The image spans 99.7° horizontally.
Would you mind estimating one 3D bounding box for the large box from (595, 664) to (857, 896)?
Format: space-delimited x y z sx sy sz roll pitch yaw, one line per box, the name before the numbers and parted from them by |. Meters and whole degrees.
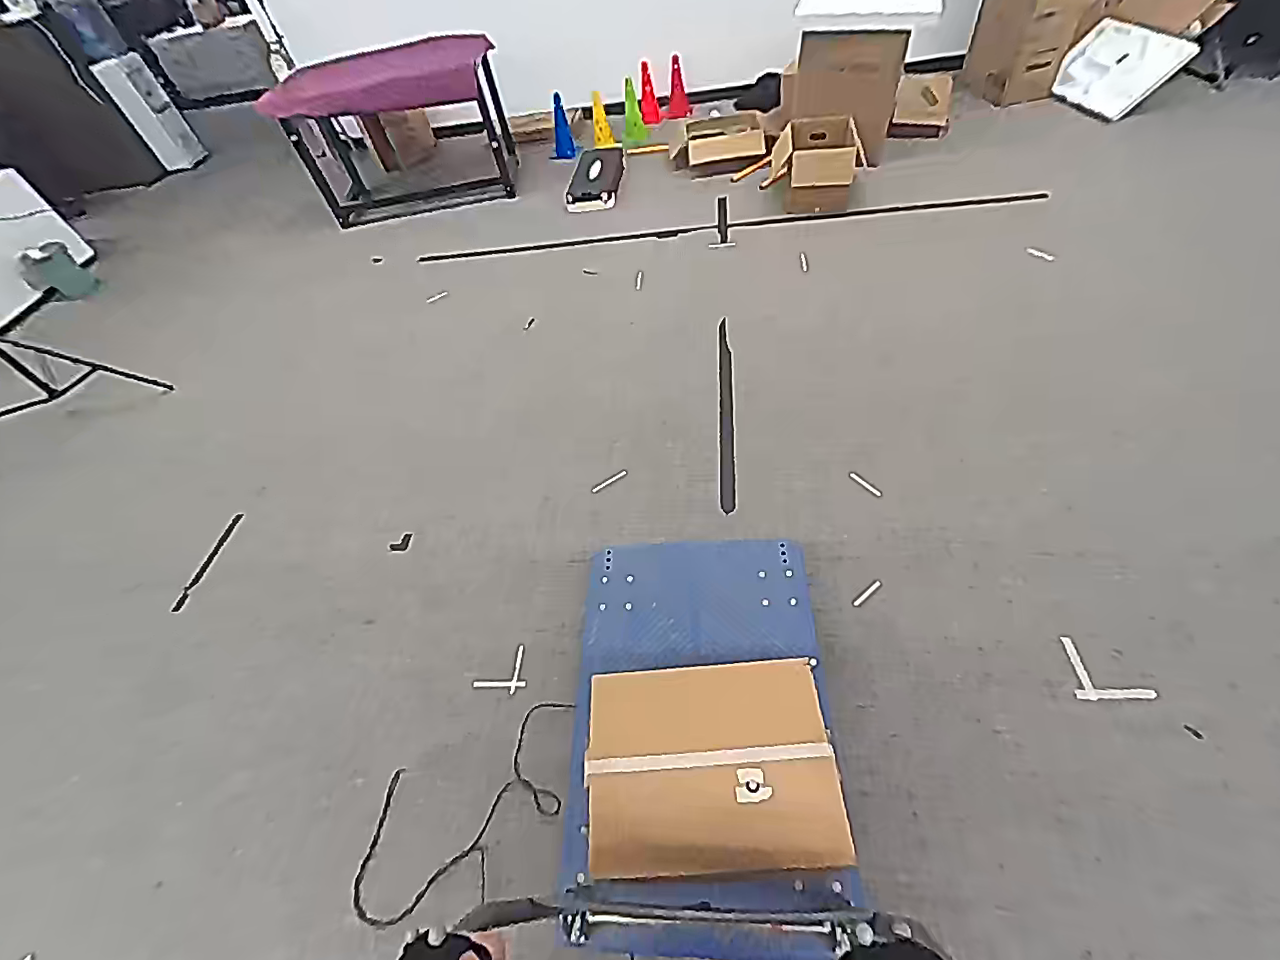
large box | 0.136 0.571 1.019 0.408 0.320 0.320 -6 51 4
